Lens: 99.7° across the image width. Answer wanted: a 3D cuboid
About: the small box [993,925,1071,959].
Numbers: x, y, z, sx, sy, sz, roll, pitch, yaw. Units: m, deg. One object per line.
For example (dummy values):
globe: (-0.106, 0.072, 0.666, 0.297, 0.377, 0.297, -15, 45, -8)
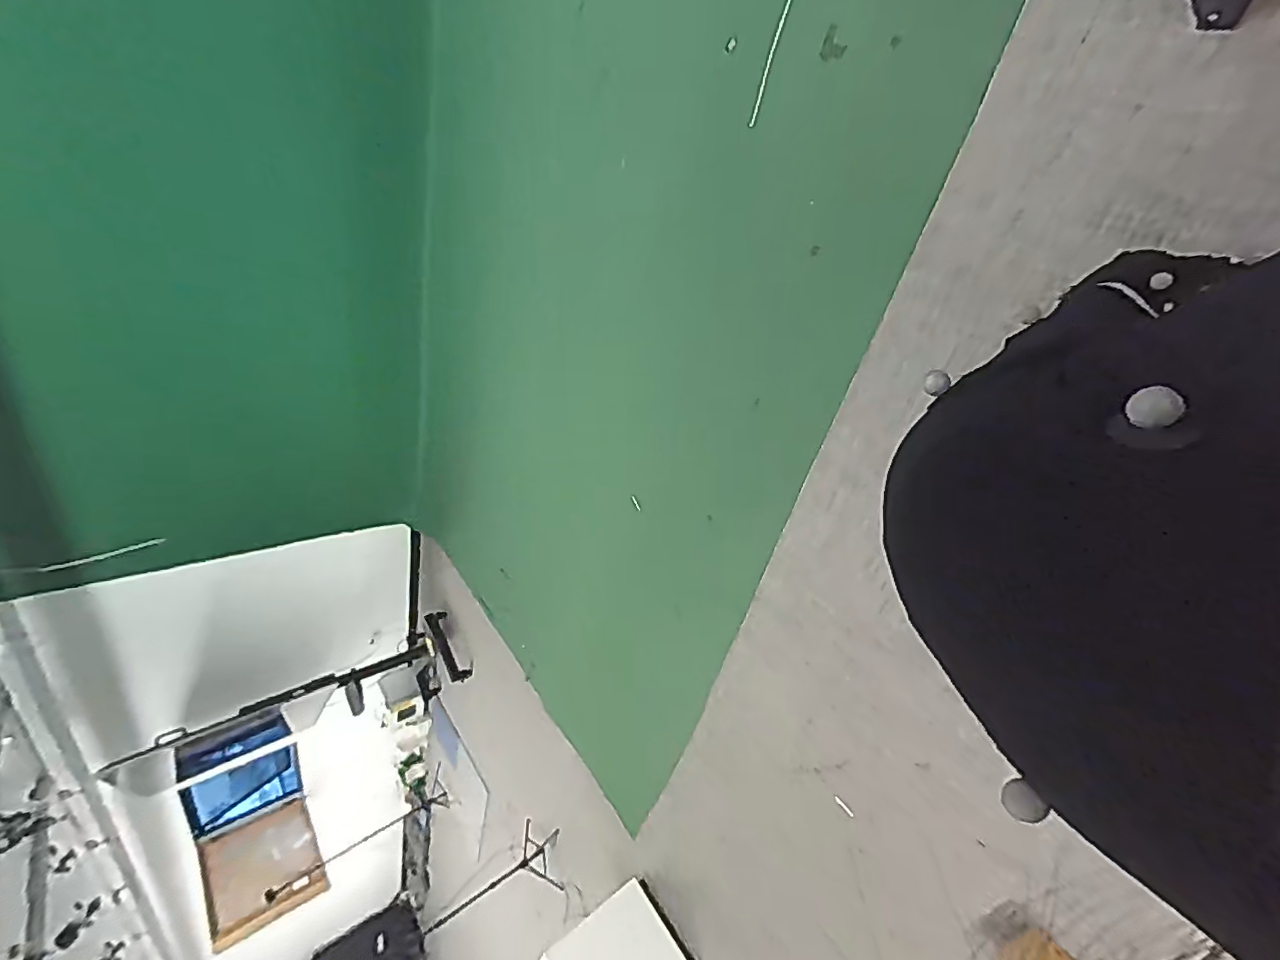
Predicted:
small box: (1.014, 1.293, 1.375, 0.168, 0.176, 0.179, 43, 129, 34)
